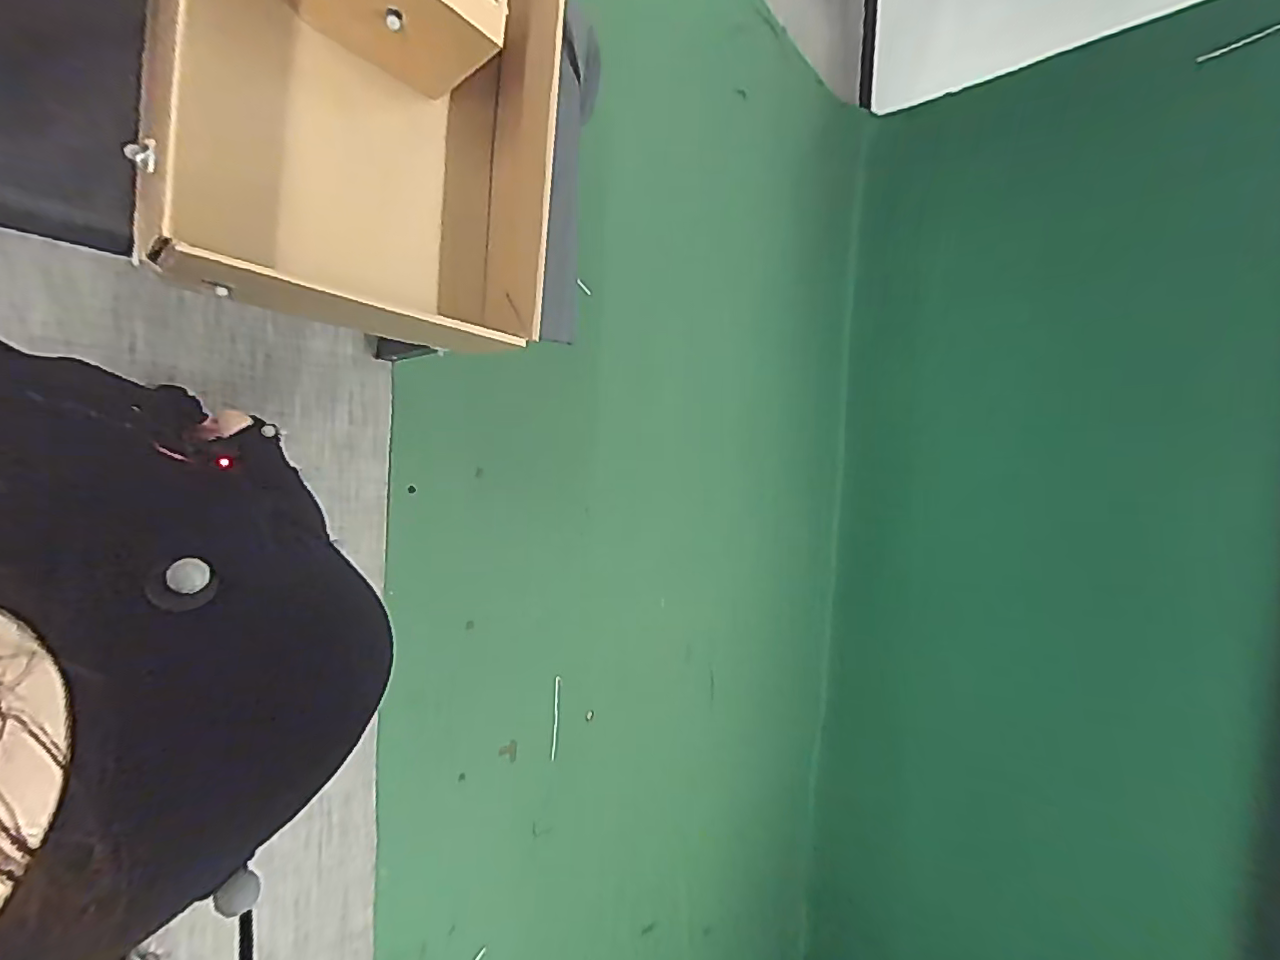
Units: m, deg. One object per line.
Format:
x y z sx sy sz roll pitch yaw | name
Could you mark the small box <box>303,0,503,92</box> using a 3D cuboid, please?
-0.280 -0.613 0.645 0.179 0.176 0.168 5 92 -47 | small box
